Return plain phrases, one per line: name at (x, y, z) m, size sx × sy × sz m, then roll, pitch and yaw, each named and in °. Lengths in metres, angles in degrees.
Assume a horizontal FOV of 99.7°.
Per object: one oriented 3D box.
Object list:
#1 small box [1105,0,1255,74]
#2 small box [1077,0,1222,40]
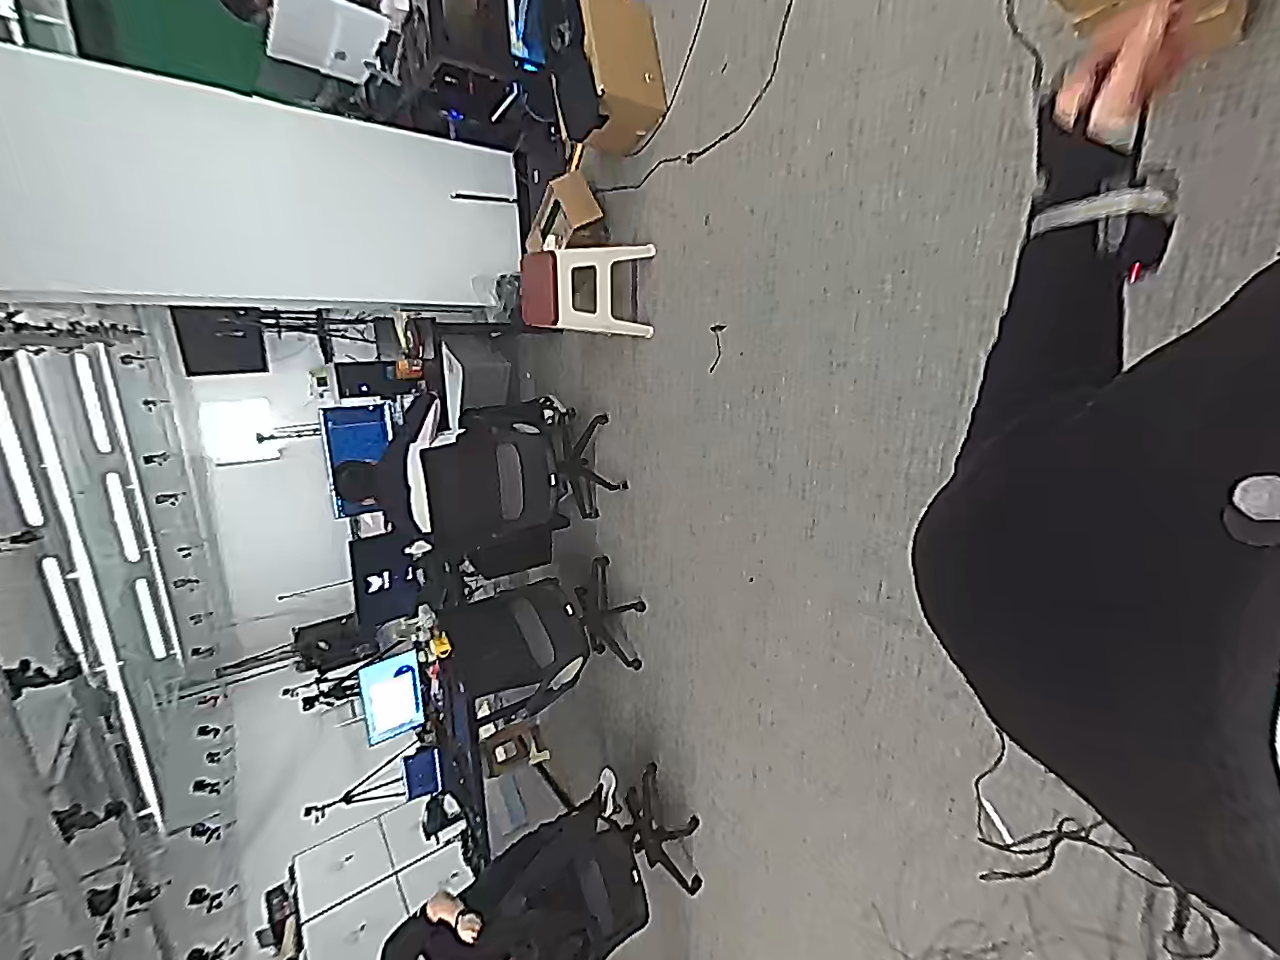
small box at (0.961, -0.865, 0.953) m, size 0.168 × 0.176 × 0.179 m, roll 16°, pitch 112°, yaw 52°
small box at (0.830, -0.847, 0.860) m, size 0.168 × 0.176 × 0.179 m, roll 9°, pitch 105°, yaw 52°
